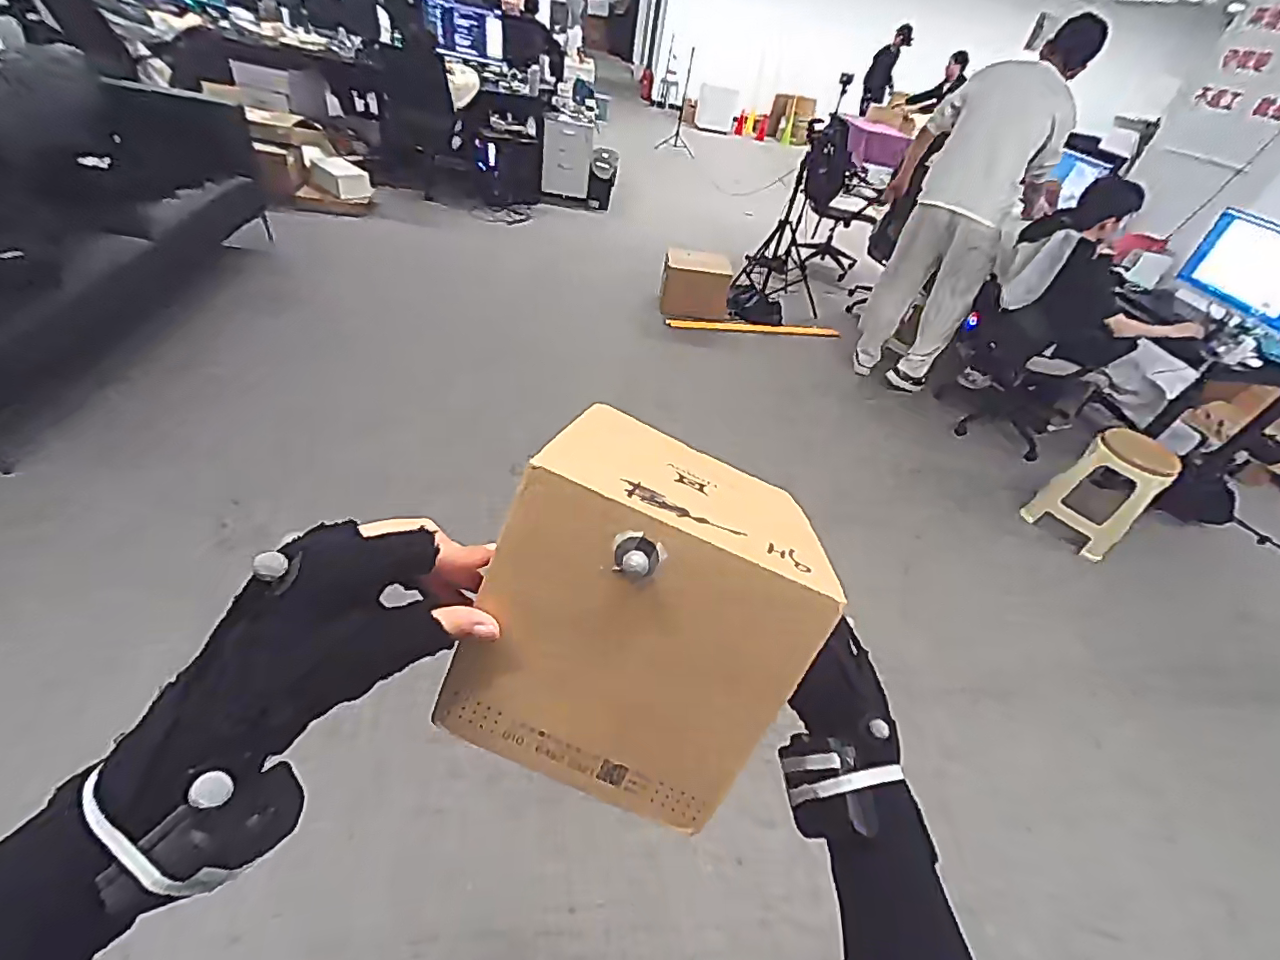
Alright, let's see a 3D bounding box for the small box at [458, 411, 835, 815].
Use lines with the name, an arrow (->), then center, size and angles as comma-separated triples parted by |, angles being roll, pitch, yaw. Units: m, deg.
small box -> 0.000, 0.073, 0.370 | 0.168, 0.176, 0.179 | 24, 17, -1
